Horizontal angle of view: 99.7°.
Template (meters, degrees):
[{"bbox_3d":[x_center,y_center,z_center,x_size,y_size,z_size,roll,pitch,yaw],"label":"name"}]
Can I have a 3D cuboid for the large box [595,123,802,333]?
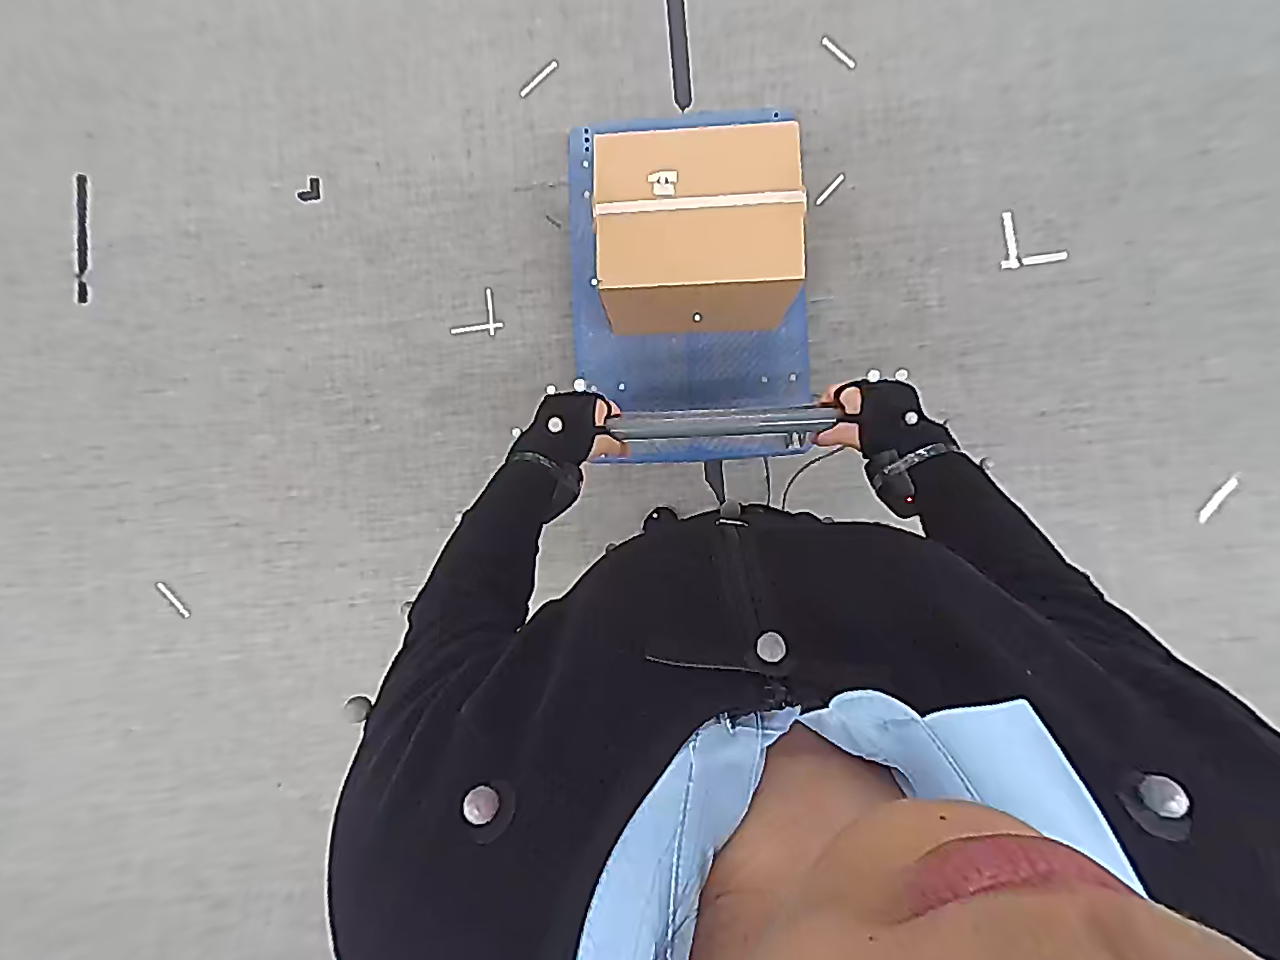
[{"bbox_3d":[0.127,-0.537,1.222,0.408,0.320,0.320,-2,87,5],"label":"large box"}]
